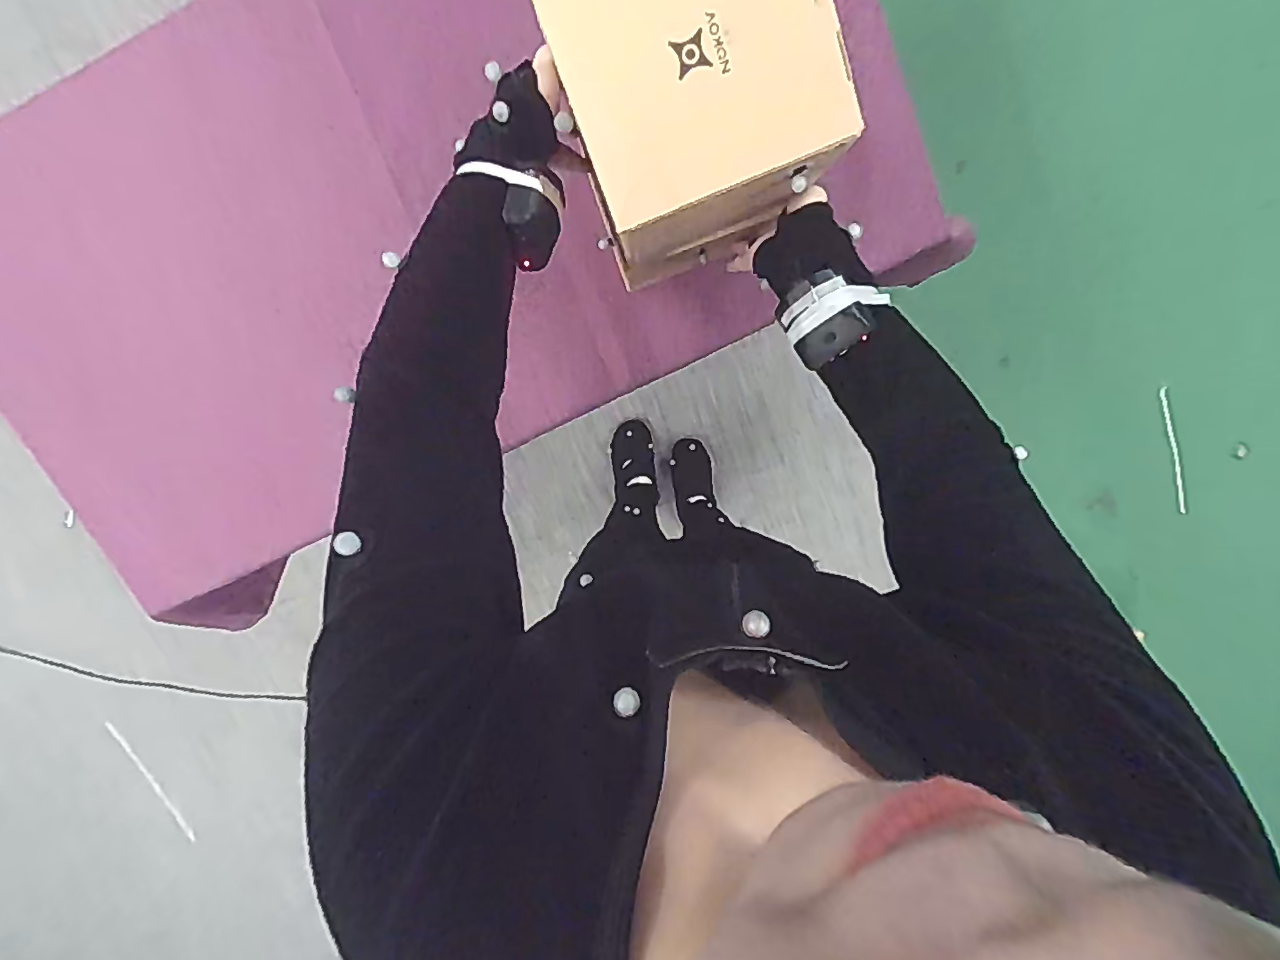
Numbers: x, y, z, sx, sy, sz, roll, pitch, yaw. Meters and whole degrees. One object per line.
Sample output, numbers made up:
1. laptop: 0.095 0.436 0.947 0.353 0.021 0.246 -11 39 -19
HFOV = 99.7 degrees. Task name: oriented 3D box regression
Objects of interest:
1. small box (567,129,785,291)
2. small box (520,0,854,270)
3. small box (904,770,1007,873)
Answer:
1. small box: 0.035 -0.318 0.586 0.179 0.176 0.168 -18 103 4
2. small box: 0.033 -0.285 0.425 0.179 0.176 0.168 -22 102 5
3. small box: 0.938 1.012 1.626 0.168 0.176 0.179 -39 100 8
